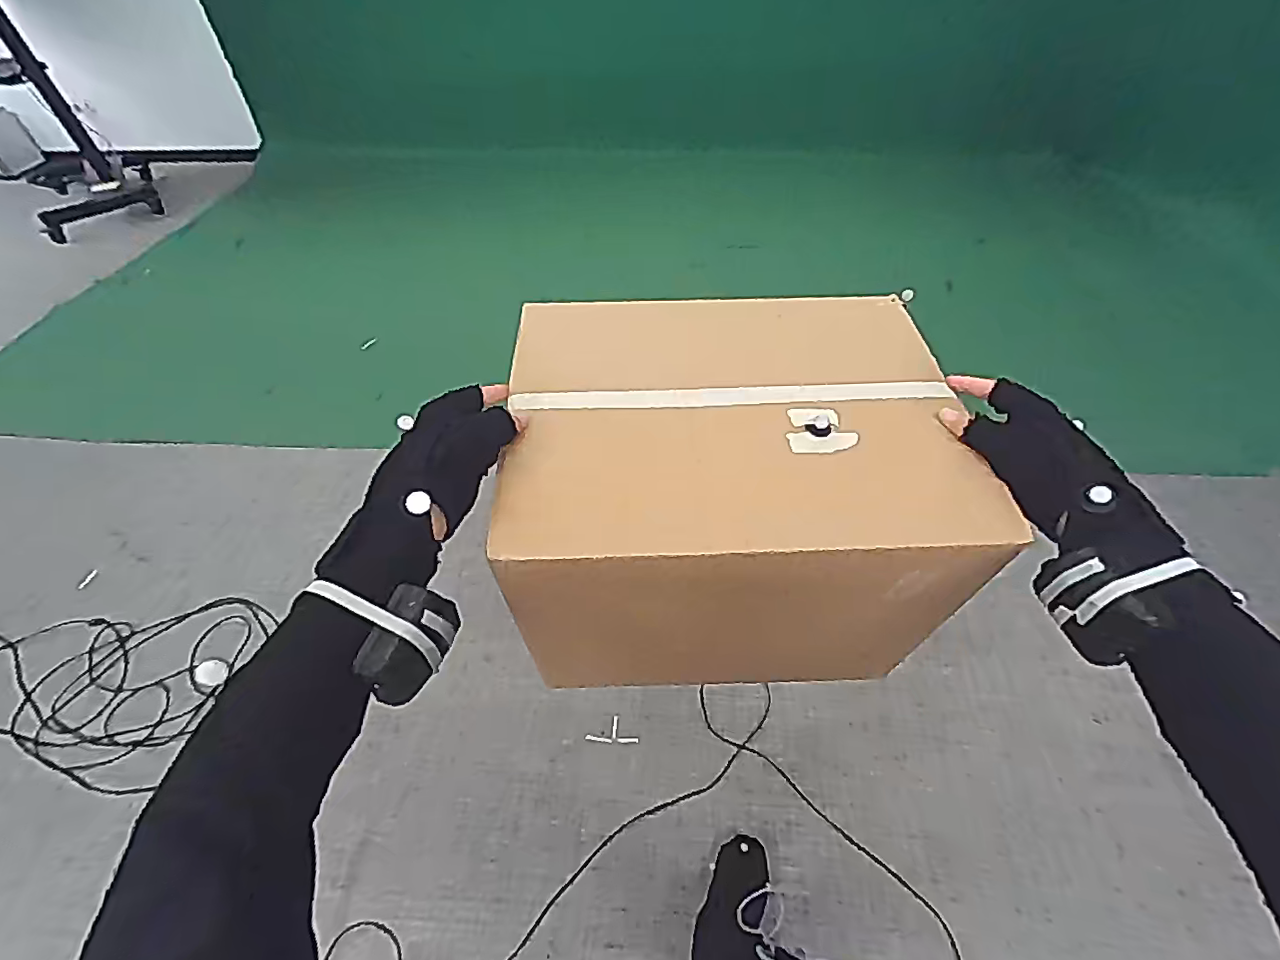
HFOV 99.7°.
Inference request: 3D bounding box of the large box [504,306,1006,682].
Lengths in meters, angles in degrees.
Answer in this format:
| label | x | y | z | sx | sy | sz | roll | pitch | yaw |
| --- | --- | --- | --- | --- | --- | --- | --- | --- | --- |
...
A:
| label | x | y | z | sx | sy | sz | roll | pitch | yaw |
| --- | --- | --- | --- | --- | --- | --- | --- | --- | --- |
| large box | 0.082 | 0.022 | 0.624 | 0.408 | 0.320 | 0.320 | -2 | 52 | -2 |
